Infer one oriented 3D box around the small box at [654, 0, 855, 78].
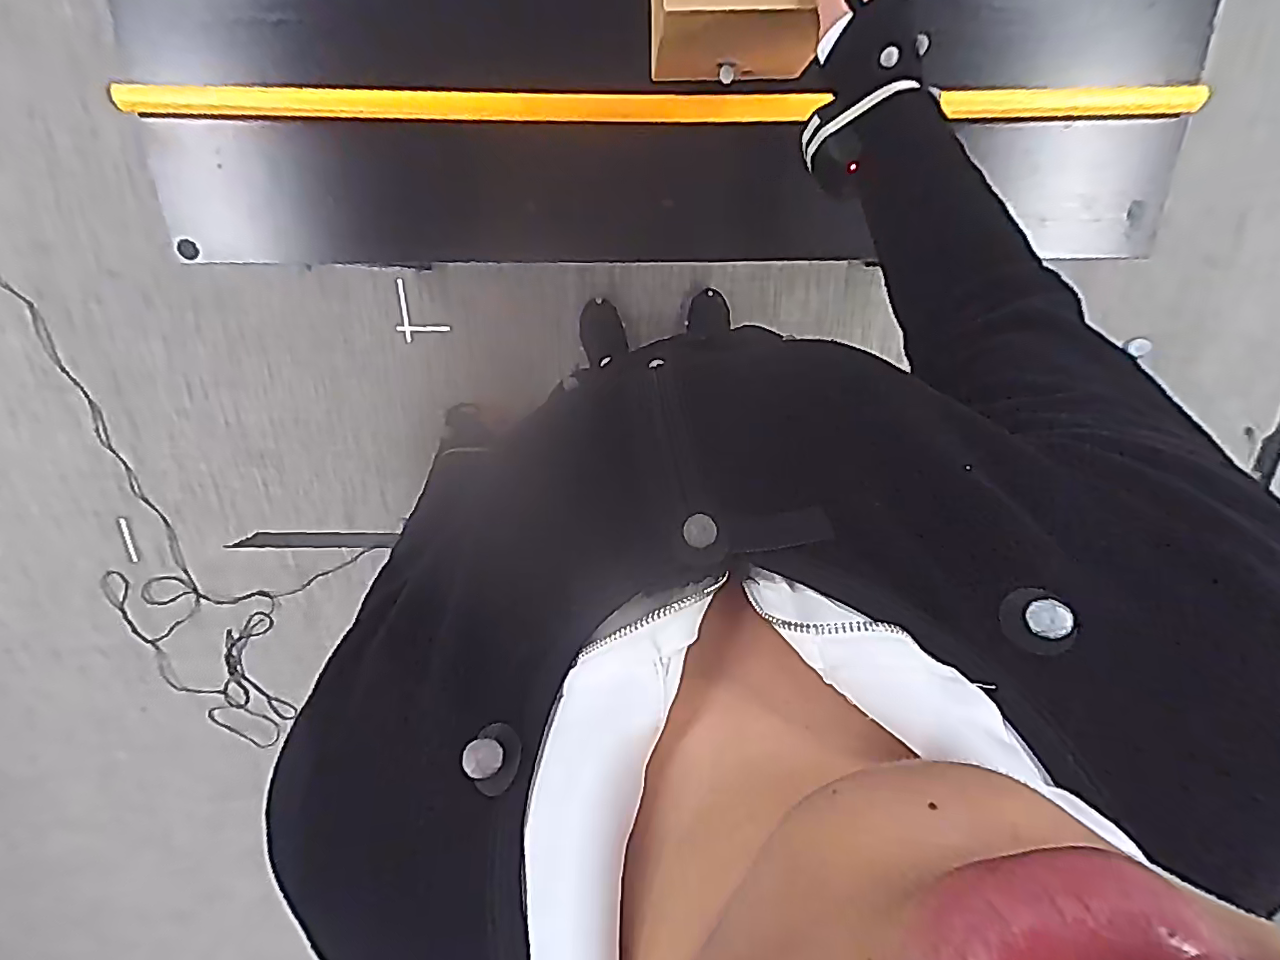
[{"bbox_3d":[0.099,-0.512,0.507,0.168,0.176,0.179,-1,110,-1],"label":"small box"}]
